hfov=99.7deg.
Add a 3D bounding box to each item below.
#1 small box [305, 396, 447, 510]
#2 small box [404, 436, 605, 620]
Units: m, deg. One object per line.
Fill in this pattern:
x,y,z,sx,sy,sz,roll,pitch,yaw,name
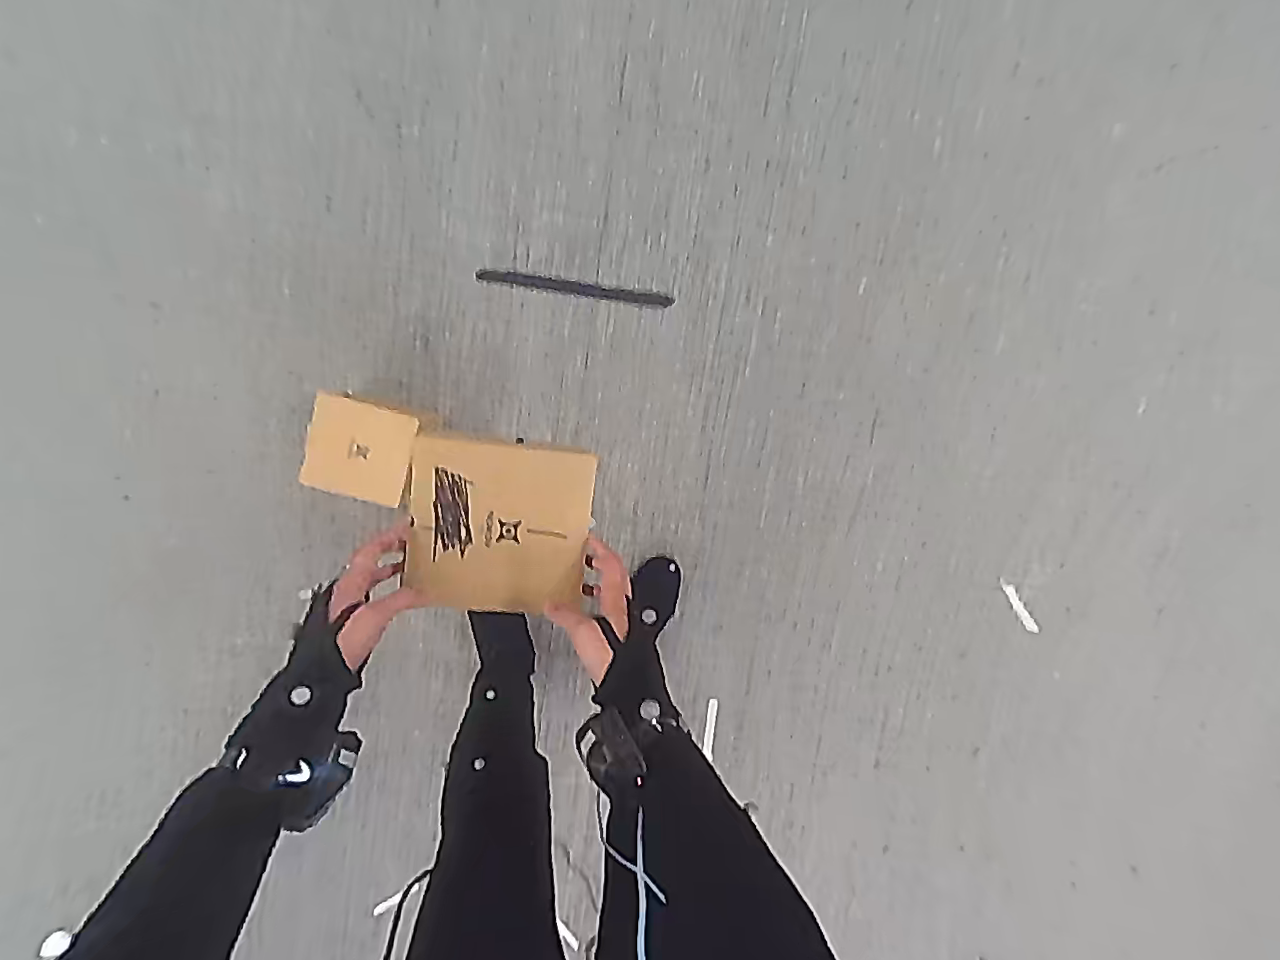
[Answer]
-0.484,-0.057,1.019,0.179,0.176,0.168,16,96,-6,small box
-0.144,0.043,0.603,0.179,0.176,0.168,7,95,-11,small box
